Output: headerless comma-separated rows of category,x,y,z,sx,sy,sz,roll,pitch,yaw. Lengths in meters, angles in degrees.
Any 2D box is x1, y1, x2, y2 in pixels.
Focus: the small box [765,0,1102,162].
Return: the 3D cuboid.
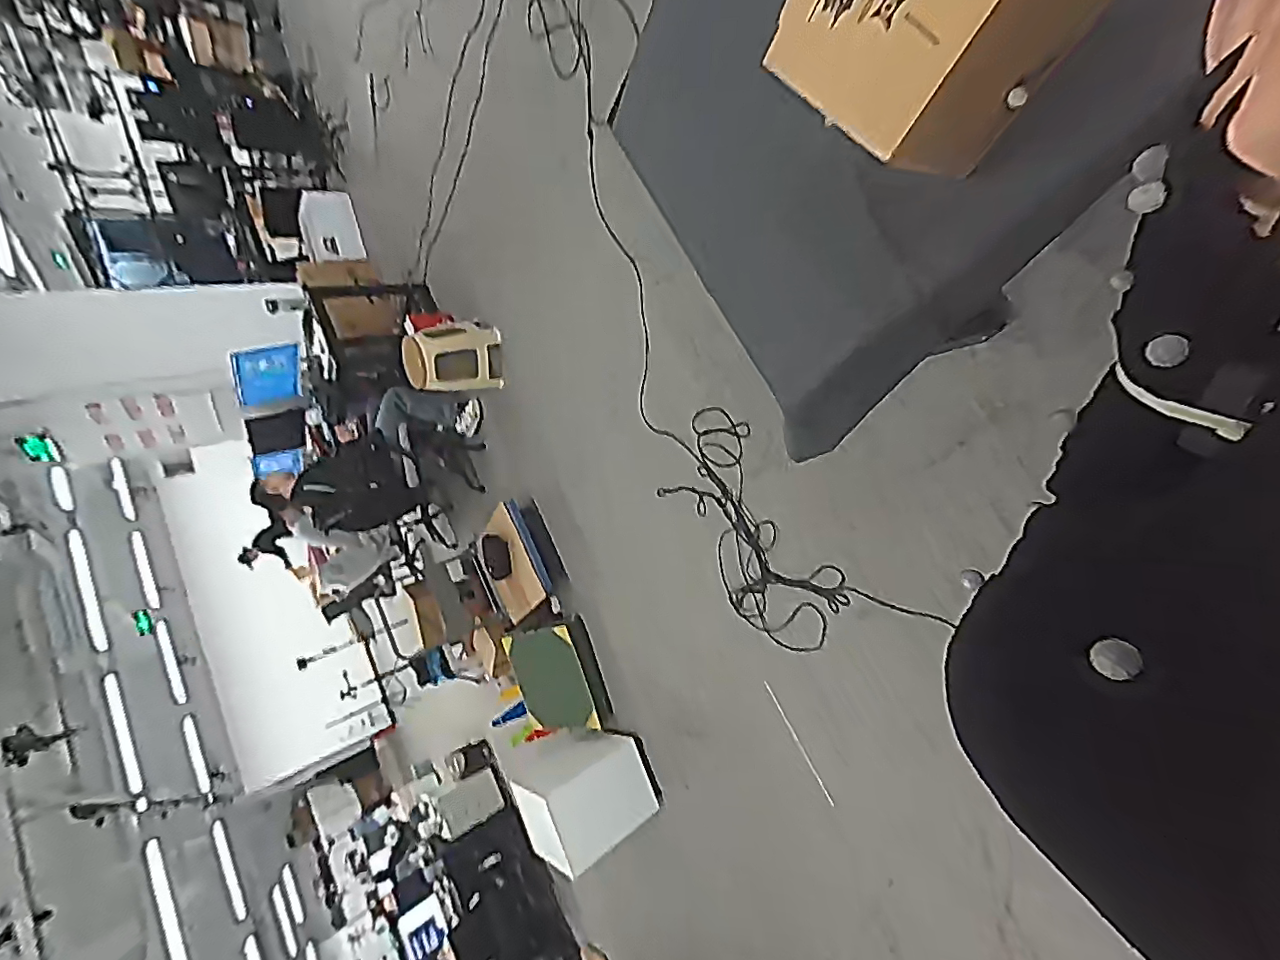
small box,0.256,-0.411,0.482,0.179,0.176,0.168,55,141,20
